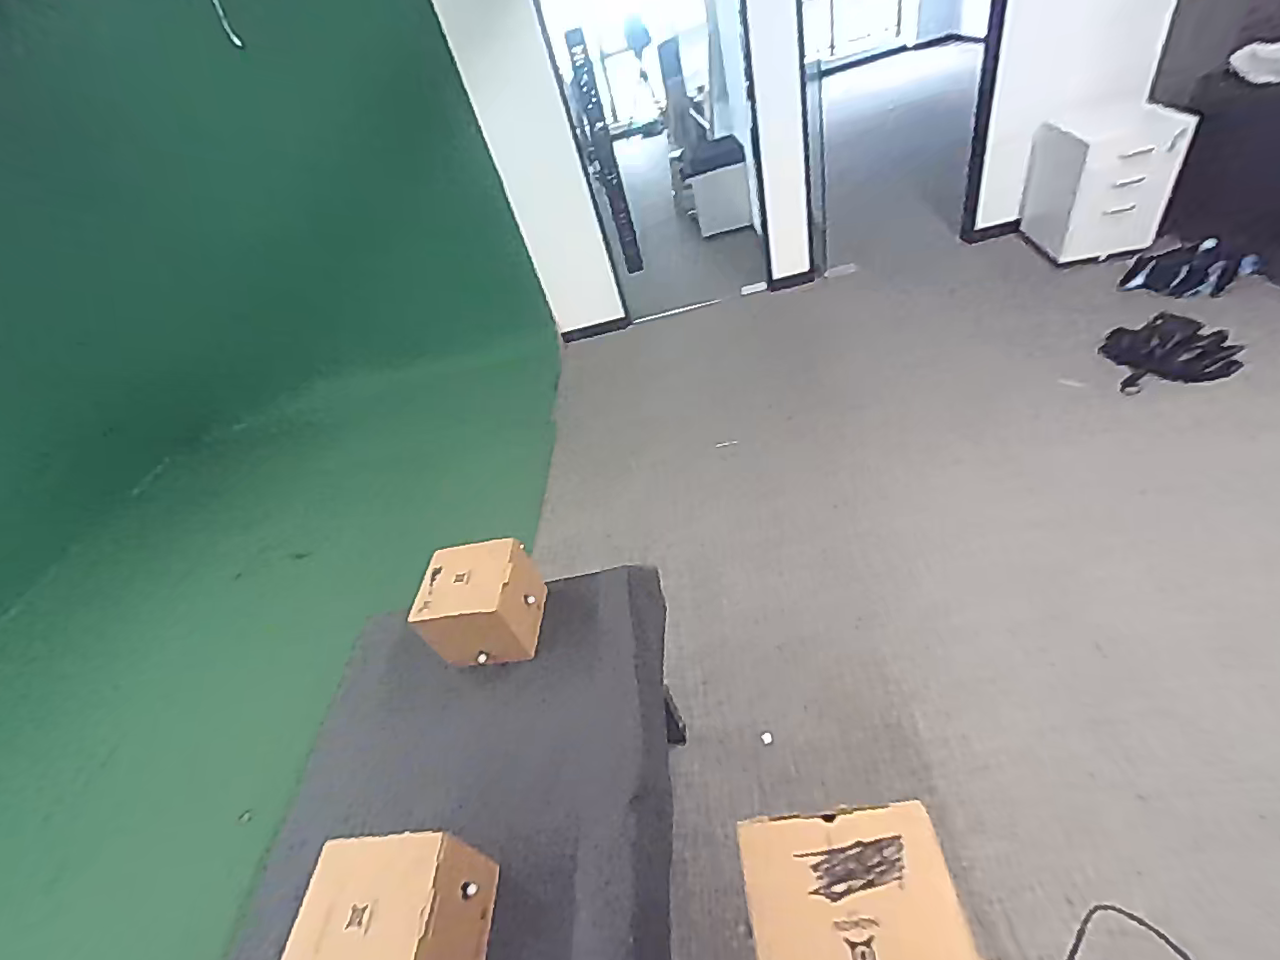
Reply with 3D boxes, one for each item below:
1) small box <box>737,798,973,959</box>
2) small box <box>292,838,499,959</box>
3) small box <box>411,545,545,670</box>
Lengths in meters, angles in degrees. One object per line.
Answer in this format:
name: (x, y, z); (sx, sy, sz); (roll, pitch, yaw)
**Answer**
small box: (0.185, 0.411, 0.493); (0.168, 0.176, 0.179); (-10, 52, 4)
small box: (-0.300, 0.579, 0.686); (0.179, 0.176, 0.168); (-12, 39, 9)
small box: (-0.300, 0.250, 1.049); (0.179, 0.176, 0.168); (-9, 42, 10)
